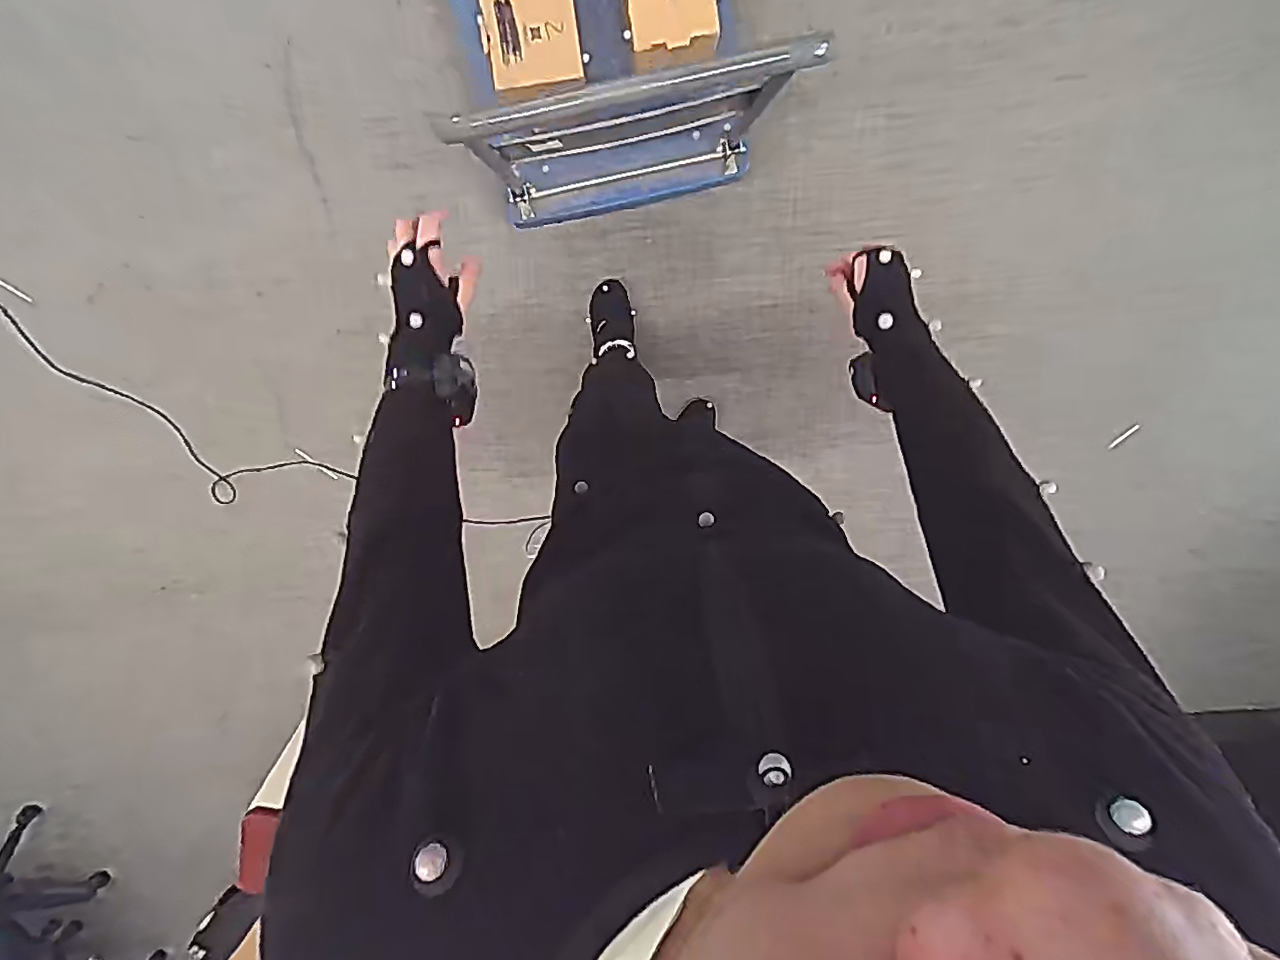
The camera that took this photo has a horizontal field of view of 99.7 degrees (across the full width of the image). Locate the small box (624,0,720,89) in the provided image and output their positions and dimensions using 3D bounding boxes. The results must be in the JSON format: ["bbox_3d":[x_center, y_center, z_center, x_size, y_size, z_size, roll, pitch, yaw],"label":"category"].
[{"bbox_3d":[0.060,-0.942,1.102,0.168,0.176,0.179,-10,107,2],"label":"small box"}]
